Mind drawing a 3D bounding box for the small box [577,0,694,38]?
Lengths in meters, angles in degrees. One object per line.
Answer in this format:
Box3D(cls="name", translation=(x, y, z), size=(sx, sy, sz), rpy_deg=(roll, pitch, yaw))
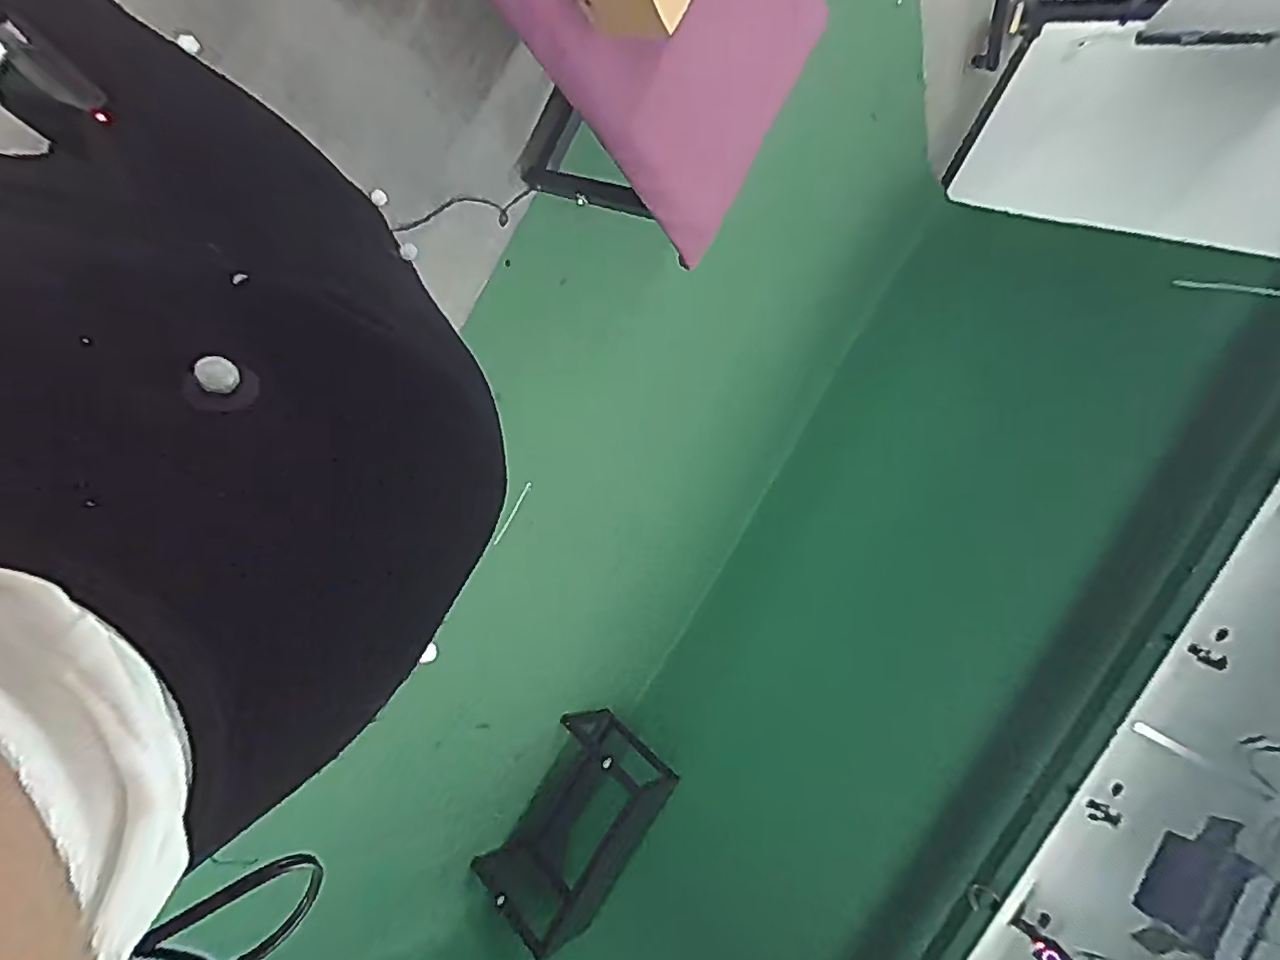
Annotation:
Box3D(cls="small box", translation=(-0.006, -0.803, 0.796), size=(0.179, 0.176, 0.168), rpy_deg=(-60, 147, 2))
